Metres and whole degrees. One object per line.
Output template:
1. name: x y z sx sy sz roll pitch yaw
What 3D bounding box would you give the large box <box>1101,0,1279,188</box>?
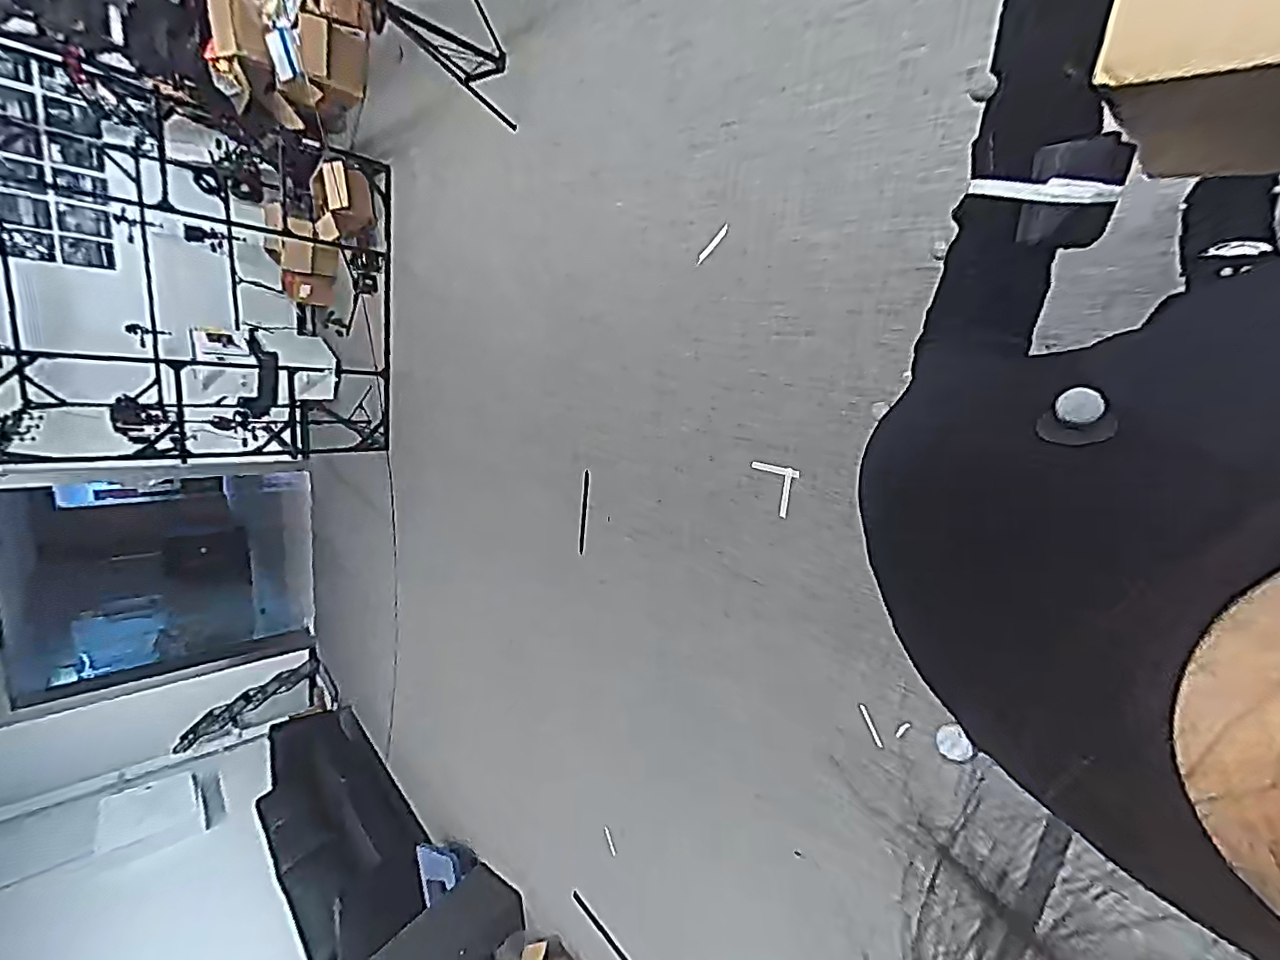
1. large box: 0.534 -0.350 0.255 0.408 0.320 0.320 23 117 41
